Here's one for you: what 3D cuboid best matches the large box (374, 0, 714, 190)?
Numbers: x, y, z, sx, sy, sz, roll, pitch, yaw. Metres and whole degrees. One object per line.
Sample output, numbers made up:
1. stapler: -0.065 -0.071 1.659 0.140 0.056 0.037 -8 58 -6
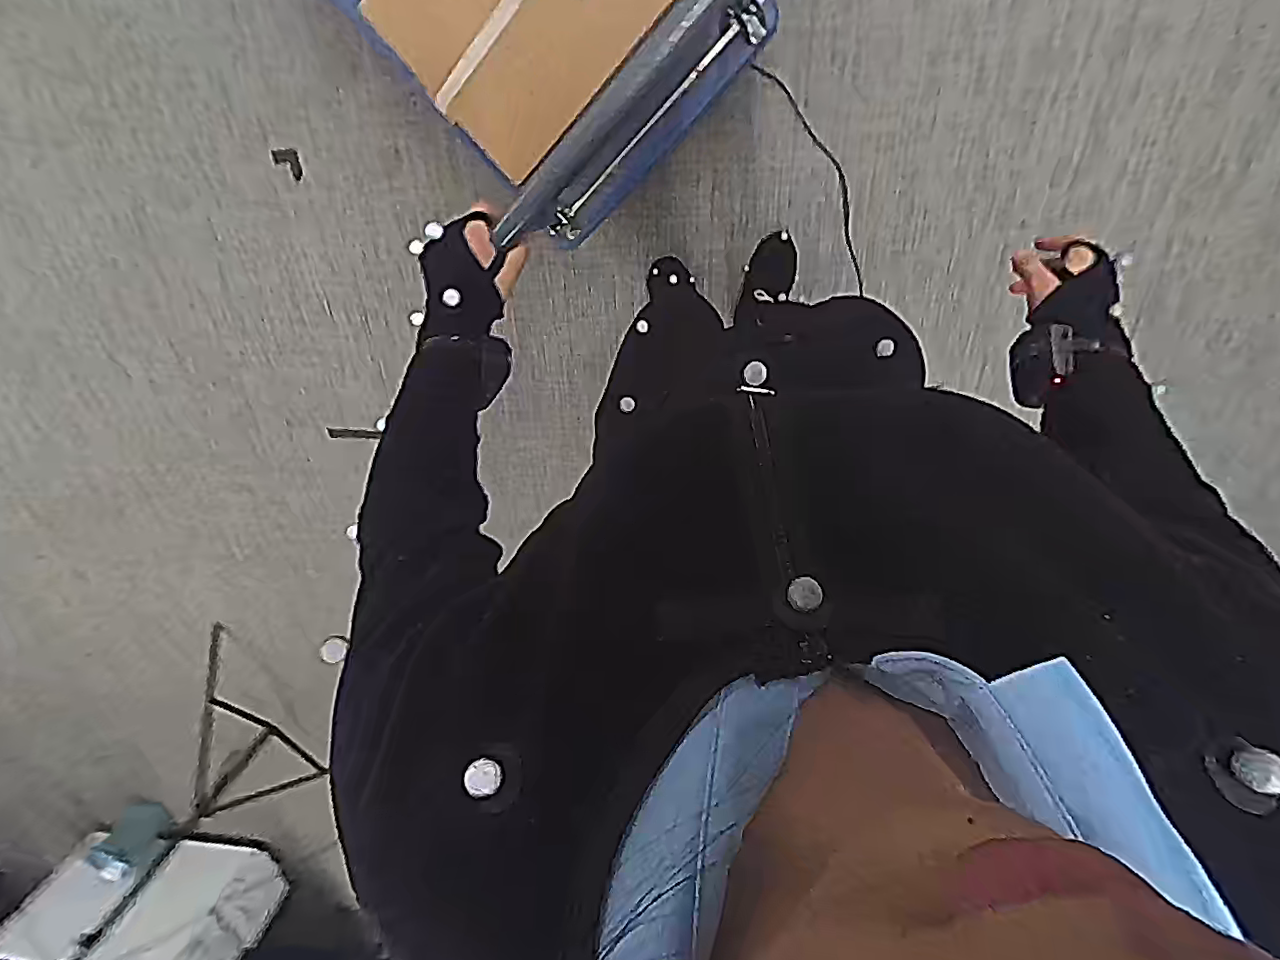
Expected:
1. large box: -0.127 -0.748 0.874 0.408 0.320 0.320 -38 108 22
